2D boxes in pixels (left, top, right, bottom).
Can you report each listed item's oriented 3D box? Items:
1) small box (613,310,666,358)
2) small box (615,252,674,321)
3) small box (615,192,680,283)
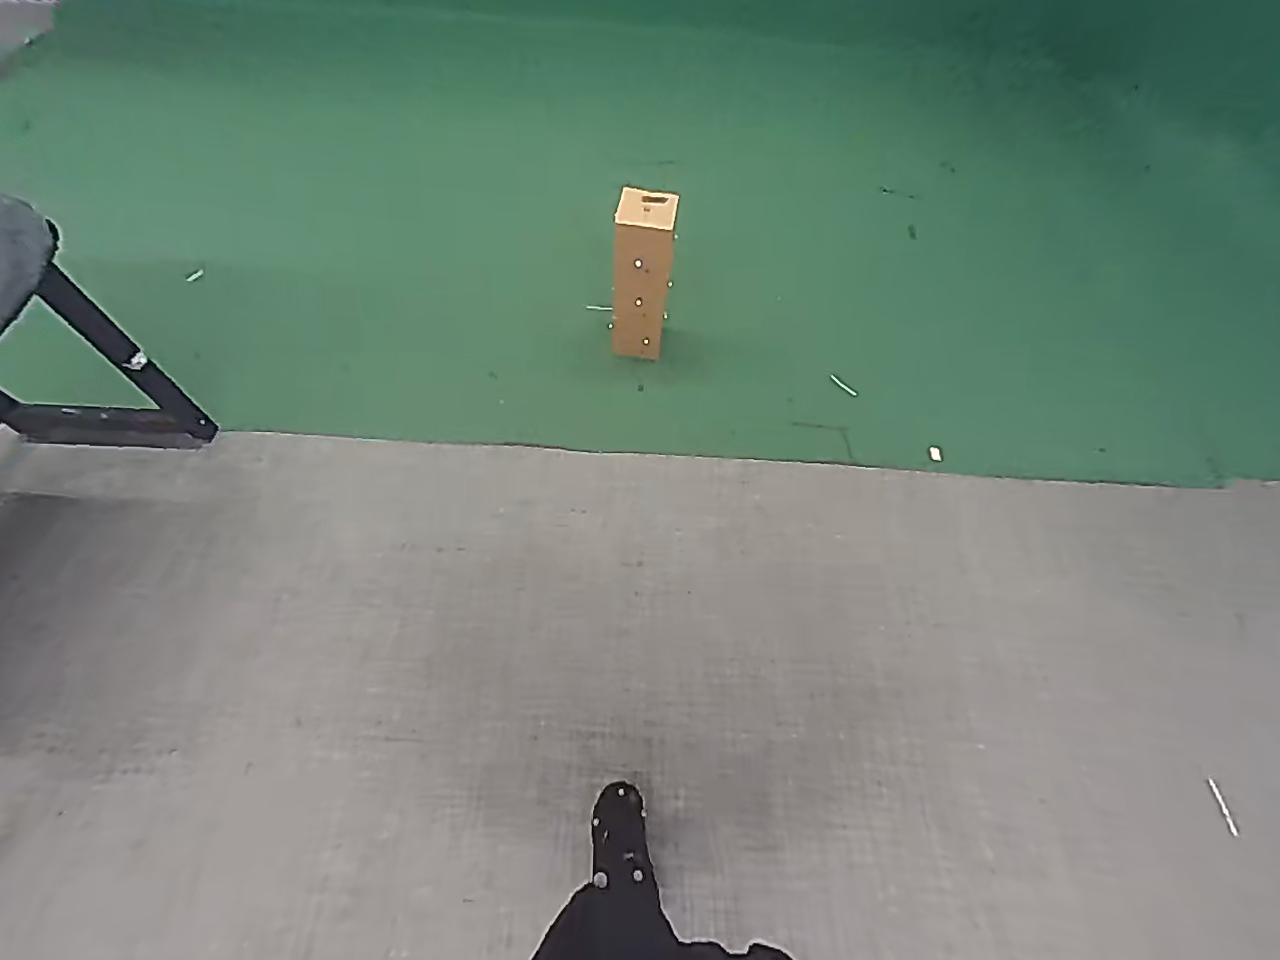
[{"bbox_3d":[0.000,-0.545,1.862,0.168,0.176,0.179,10,57,0],"label":"small box"},{"bbox_3d":[0.012,-0.630,1.745,0.168,0.176,0.179,9,59,1],"label":"small box"},{"bbox_3d":[0.020,-0.718,1.605,0.168,0.176,0.179,9,59,1],"label":"small box"}]
